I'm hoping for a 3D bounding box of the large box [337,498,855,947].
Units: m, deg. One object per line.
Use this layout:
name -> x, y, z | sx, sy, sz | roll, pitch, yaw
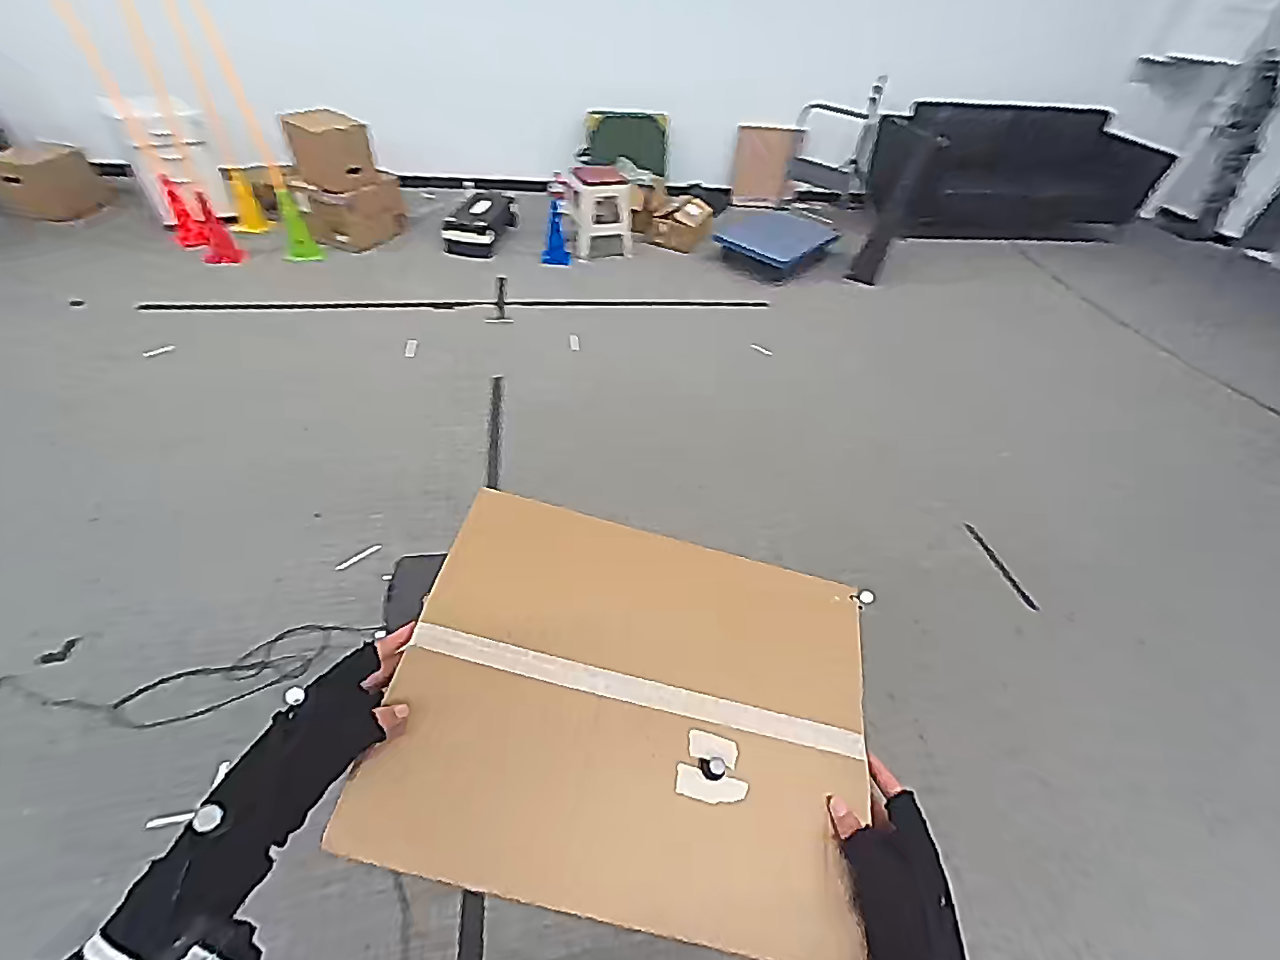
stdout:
large box -> -0.033, 0.267, 0.603 | 0.408, 0.320, 0.320 | 15, 55, -3
